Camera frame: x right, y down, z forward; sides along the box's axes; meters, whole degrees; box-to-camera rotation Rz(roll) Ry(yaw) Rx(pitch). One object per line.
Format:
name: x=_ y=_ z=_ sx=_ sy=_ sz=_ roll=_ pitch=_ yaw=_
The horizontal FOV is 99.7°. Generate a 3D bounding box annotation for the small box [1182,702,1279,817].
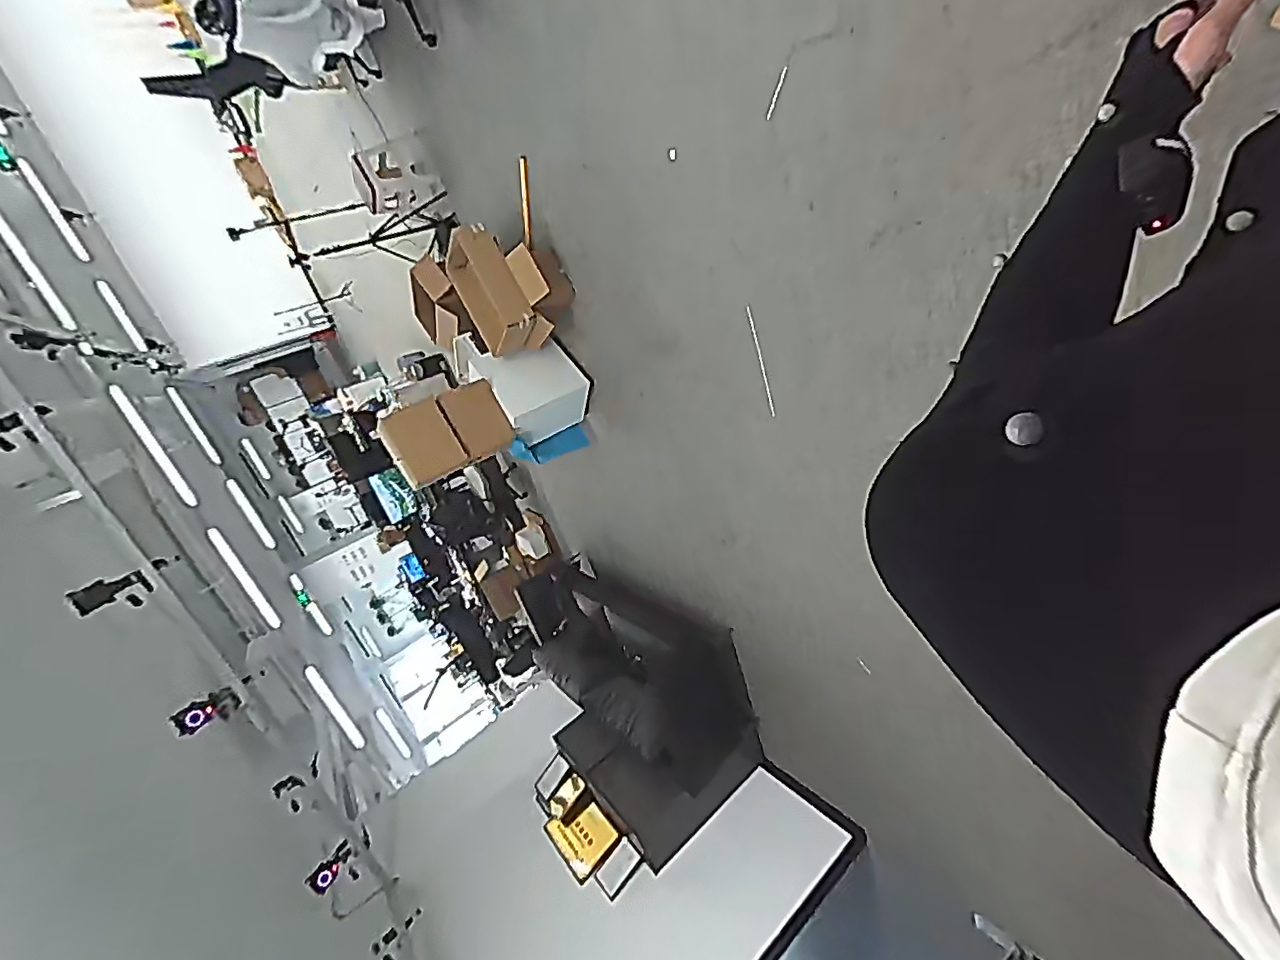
small box: x=1.583 y=0.725 z=1.426 sx=0.179 sy=0.176 sz=0.168 roll=15 pitch=129 yaw=53
